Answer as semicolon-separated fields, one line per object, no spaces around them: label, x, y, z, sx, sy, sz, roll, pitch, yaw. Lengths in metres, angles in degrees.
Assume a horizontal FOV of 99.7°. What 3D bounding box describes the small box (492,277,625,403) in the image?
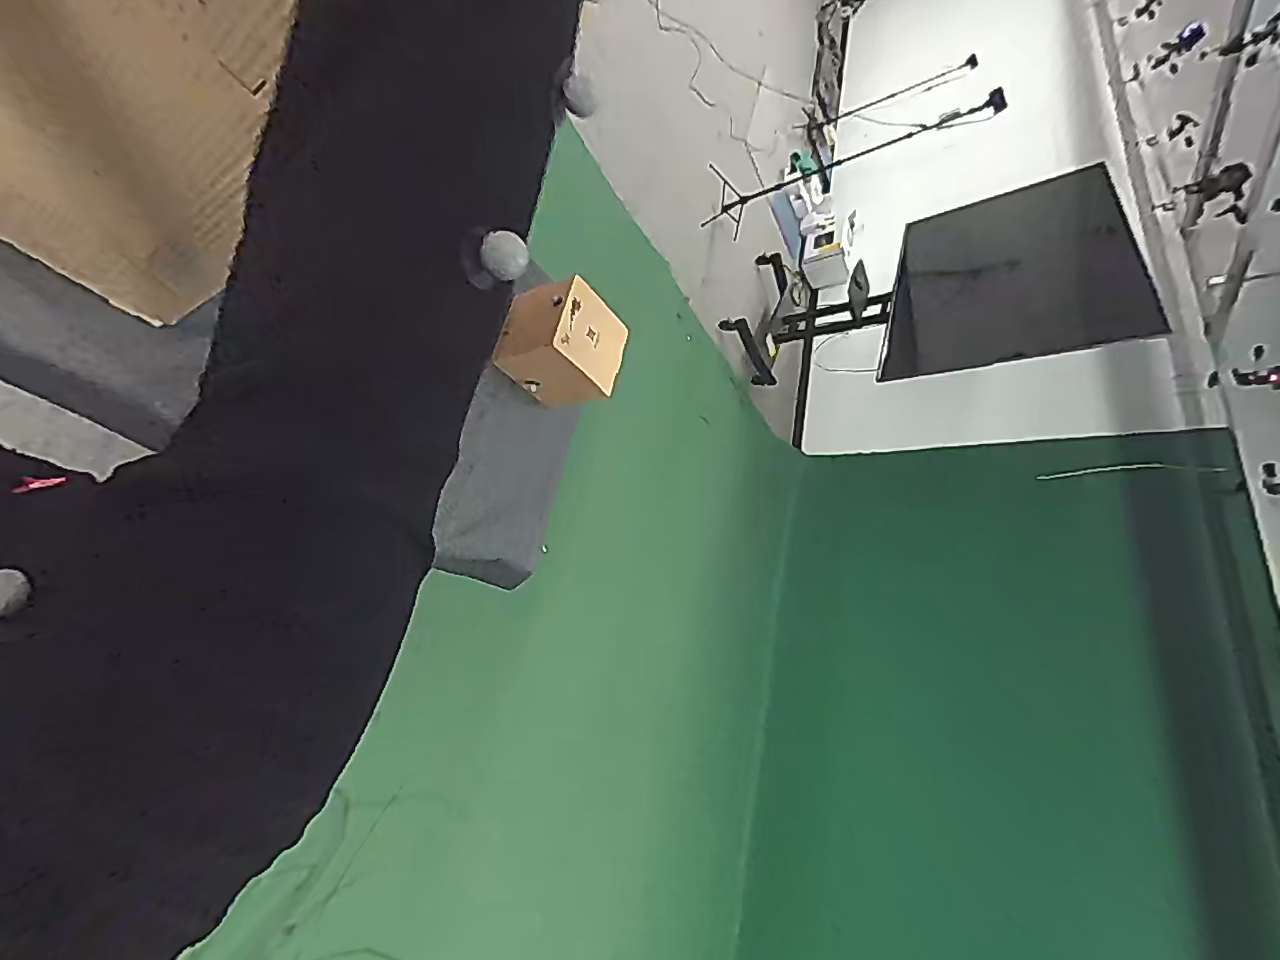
small box;-0.159;-0.267;1.077;0.179;0.176;0.168;39;56;-47
